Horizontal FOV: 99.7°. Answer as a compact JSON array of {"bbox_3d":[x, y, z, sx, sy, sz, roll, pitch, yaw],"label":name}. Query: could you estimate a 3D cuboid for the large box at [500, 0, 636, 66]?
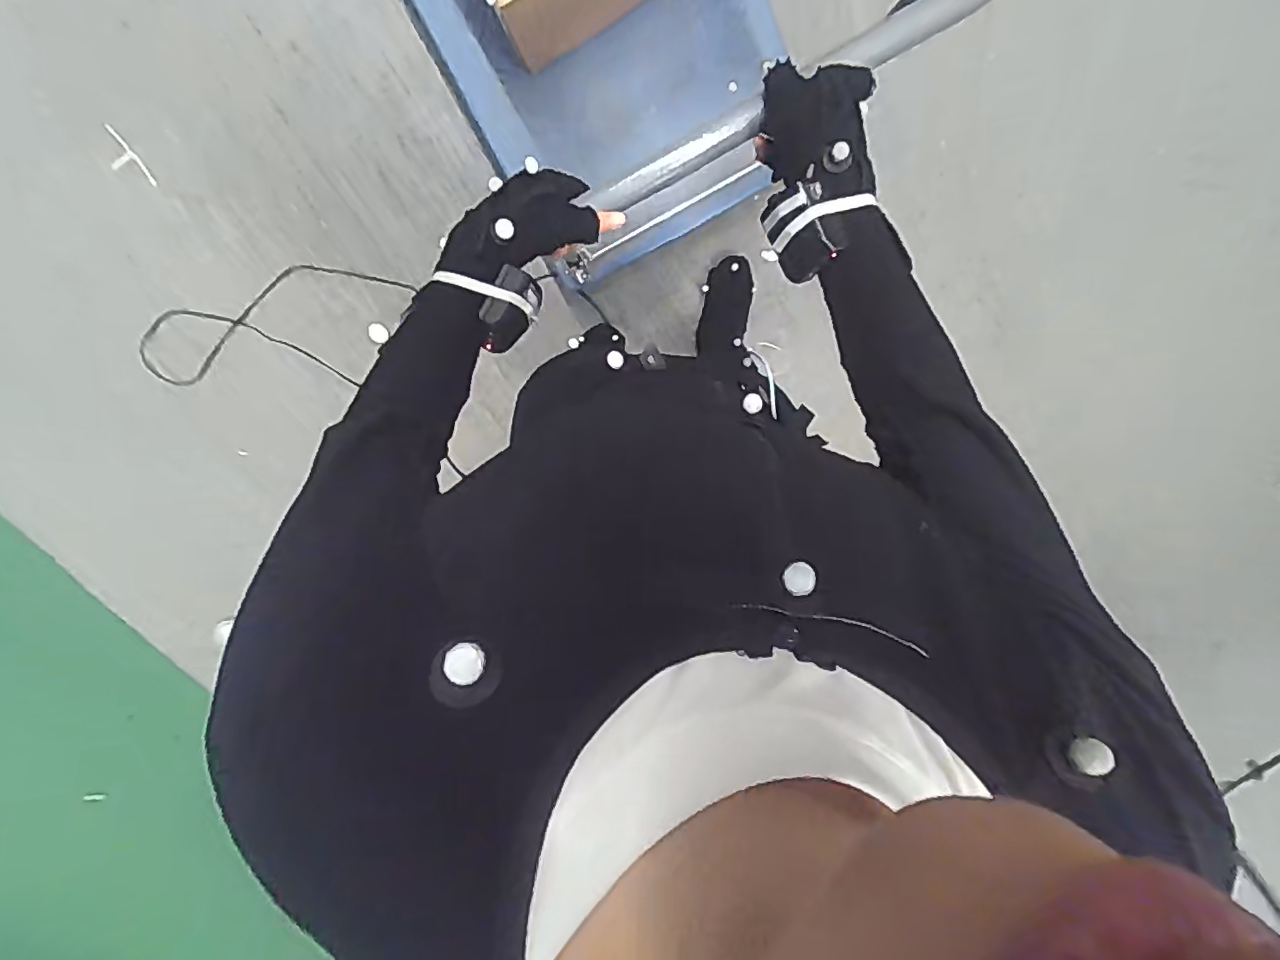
[{"bbox_3d":[-0.087,-0.922,0.791,0.408,0.320,0.320,-28,111,10],"label":"large box"}]
